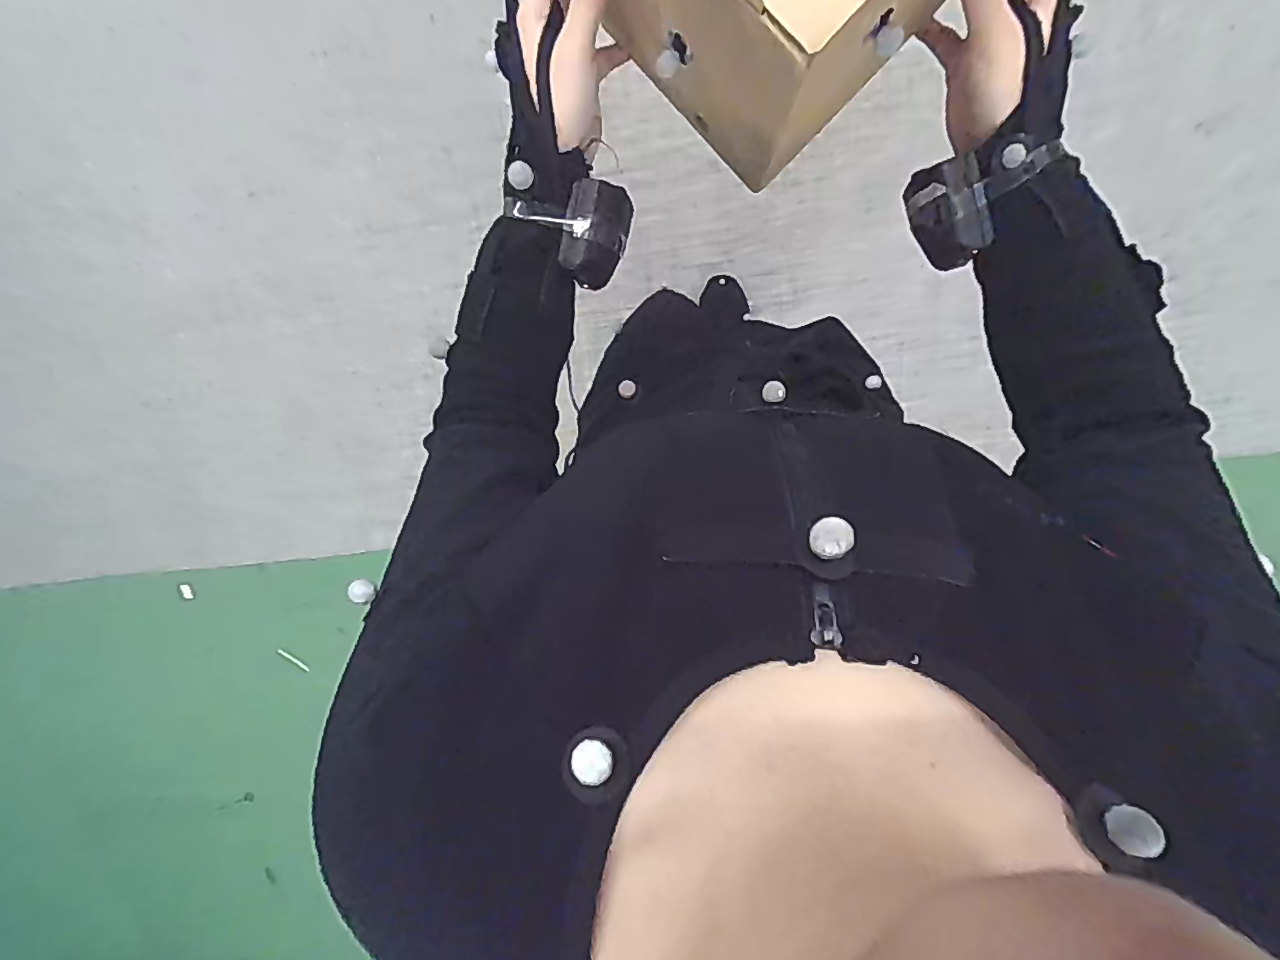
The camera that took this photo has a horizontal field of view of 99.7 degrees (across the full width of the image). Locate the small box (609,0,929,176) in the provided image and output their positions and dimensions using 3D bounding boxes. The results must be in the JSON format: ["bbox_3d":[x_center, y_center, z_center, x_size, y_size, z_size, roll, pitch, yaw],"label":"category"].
[{"bbox_3d":[0.082,-0.318,0.305,0.179,0.176,0.168,-44,94,11],"label":"small box"}]
